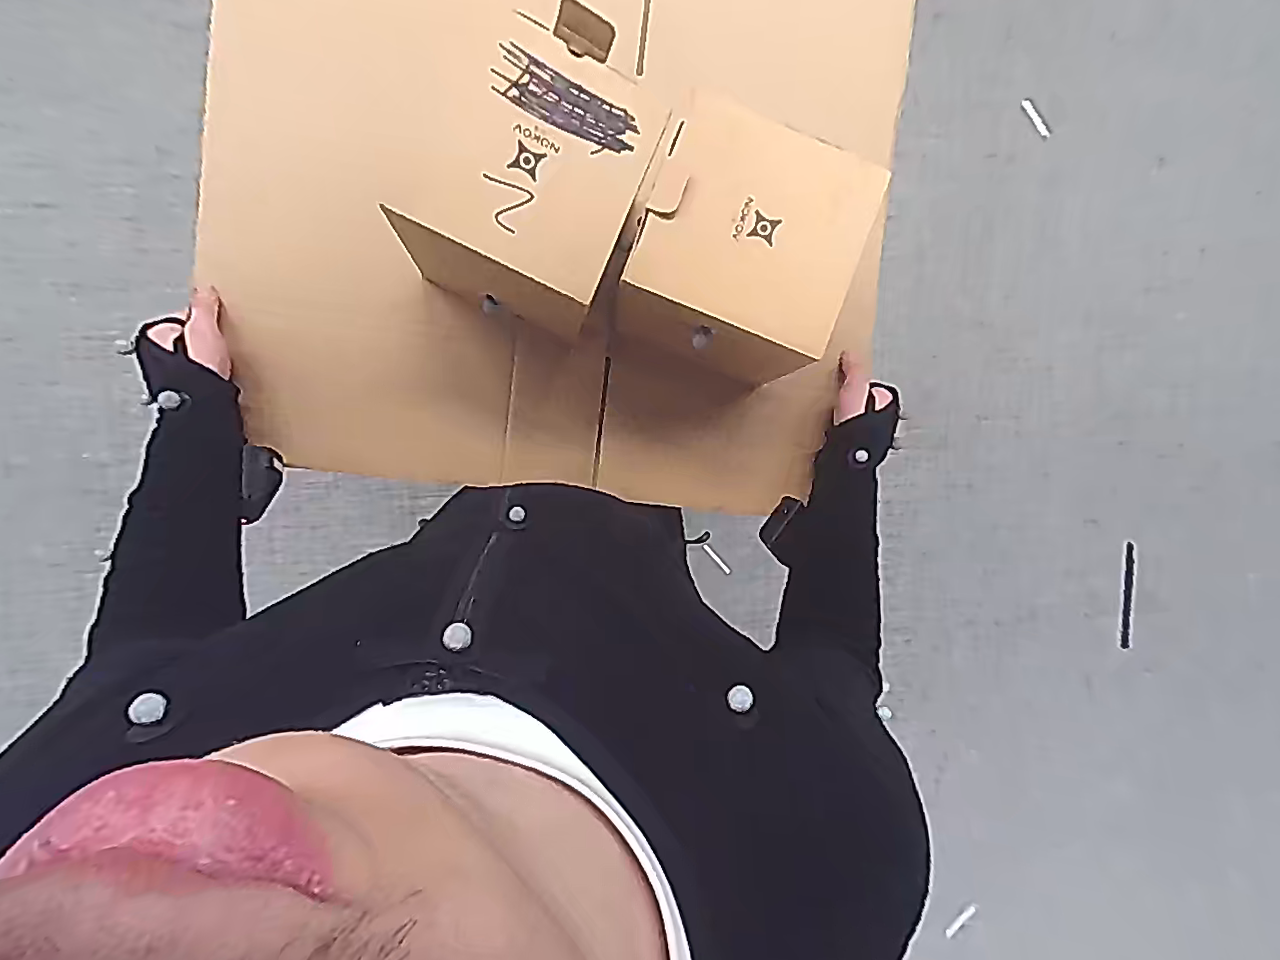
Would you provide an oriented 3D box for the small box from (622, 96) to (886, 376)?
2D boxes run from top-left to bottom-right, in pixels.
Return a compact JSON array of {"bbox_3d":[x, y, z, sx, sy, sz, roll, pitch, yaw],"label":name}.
[{"bbox_3d":[0.092,-0.210,0.524,0.179,0.176,0.168,21,91,-4],"label":"small box"}]
